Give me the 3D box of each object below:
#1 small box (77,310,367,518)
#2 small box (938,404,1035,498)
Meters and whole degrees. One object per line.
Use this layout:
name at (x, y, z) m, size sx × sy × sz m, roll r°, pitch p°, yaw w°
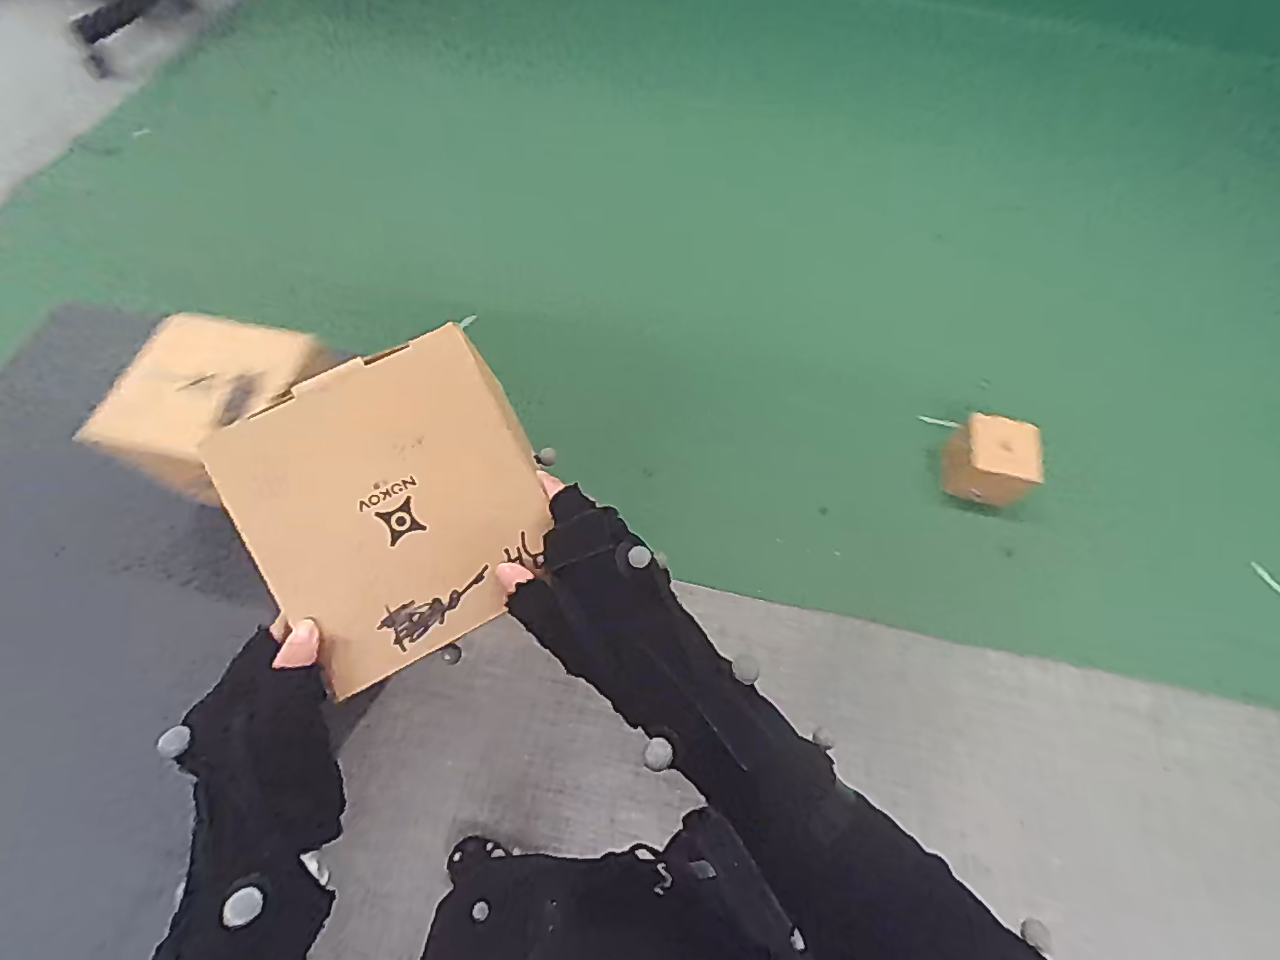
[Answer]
small box at (-0.461, -0.067, 0.636) m, size 0.179 × 0.176 × 0.168 m, roll 11°, pitch 65°, yaw 5°
small box at (0.938, -0.075, 1.477) m, size 0.168 × 0.176 × 0.179 m, roll 14°, pitch 65°, yaw 7°
